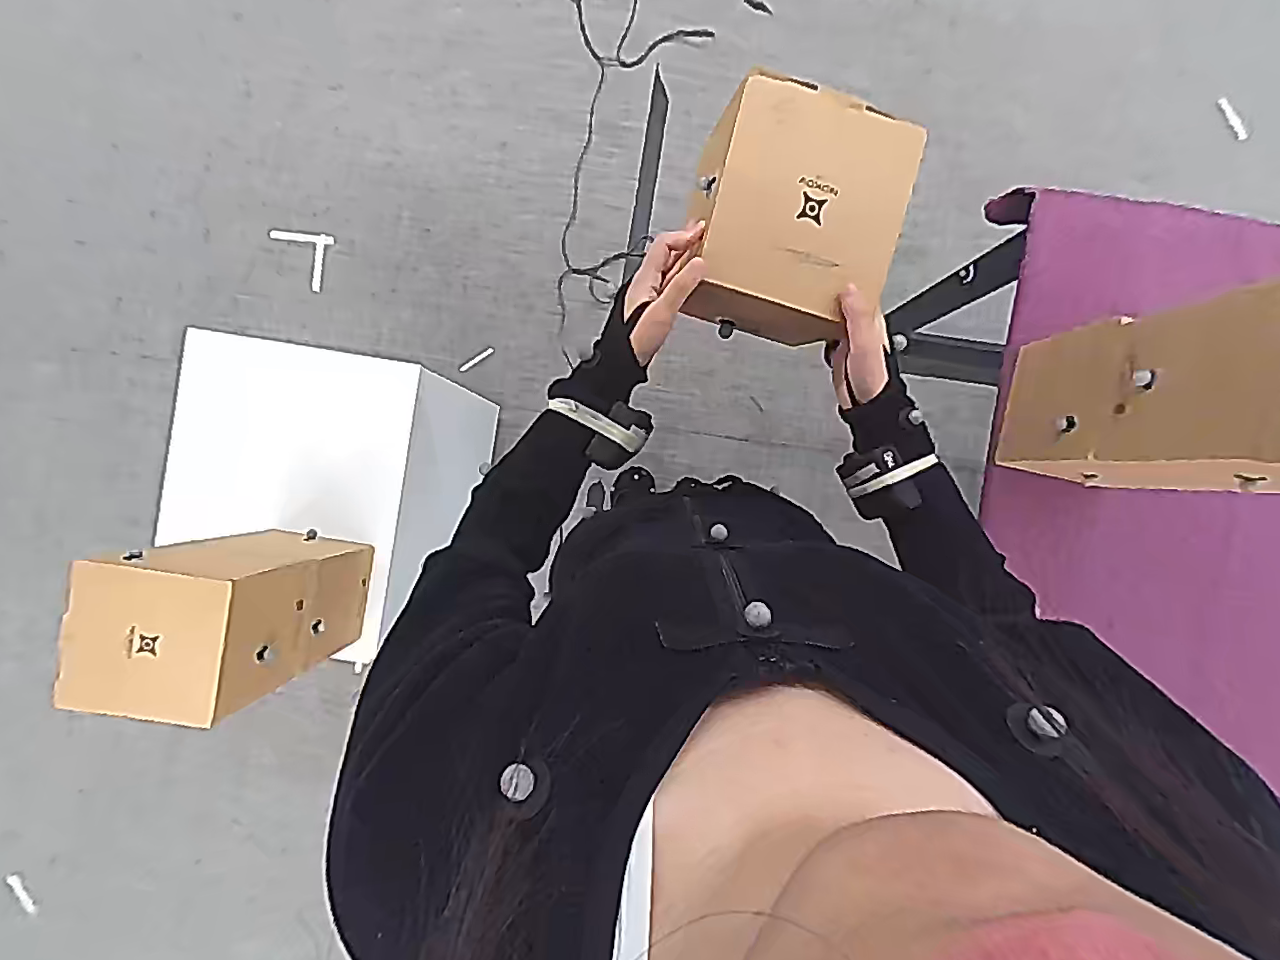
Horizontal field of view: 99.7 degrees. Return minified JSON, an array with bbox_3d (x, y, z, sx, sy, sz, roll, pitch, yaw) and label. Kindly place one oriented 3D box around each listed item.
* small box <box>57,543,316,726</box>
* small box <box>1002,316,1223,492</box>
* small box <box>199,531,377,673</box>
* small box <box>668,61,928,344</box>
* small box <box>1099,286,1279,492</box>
[{"bbox_3d":[-0.536,0.176,0.666,0.179,0.176,0.168,8,90,-1],"label":"small box"},{"bbox_3d":[0.614,-0.089,0.703,0.168,0.176,0.179,13,90,-1],"label":"small box"},{"bbox_3d":[-0.540,0.175,0.829,0.179,0.176,0.168,9,90,0],"label":"small box"},{"bbox_3d":[0.135,-0.245,0.530,0.168,0.176,0.179,14,97,-10],"label":"small box"},{"bbox_3d":[0.625,-0.081,0.539,0.179,0.176,0.168,12,91,0],"label":"small box"}]
